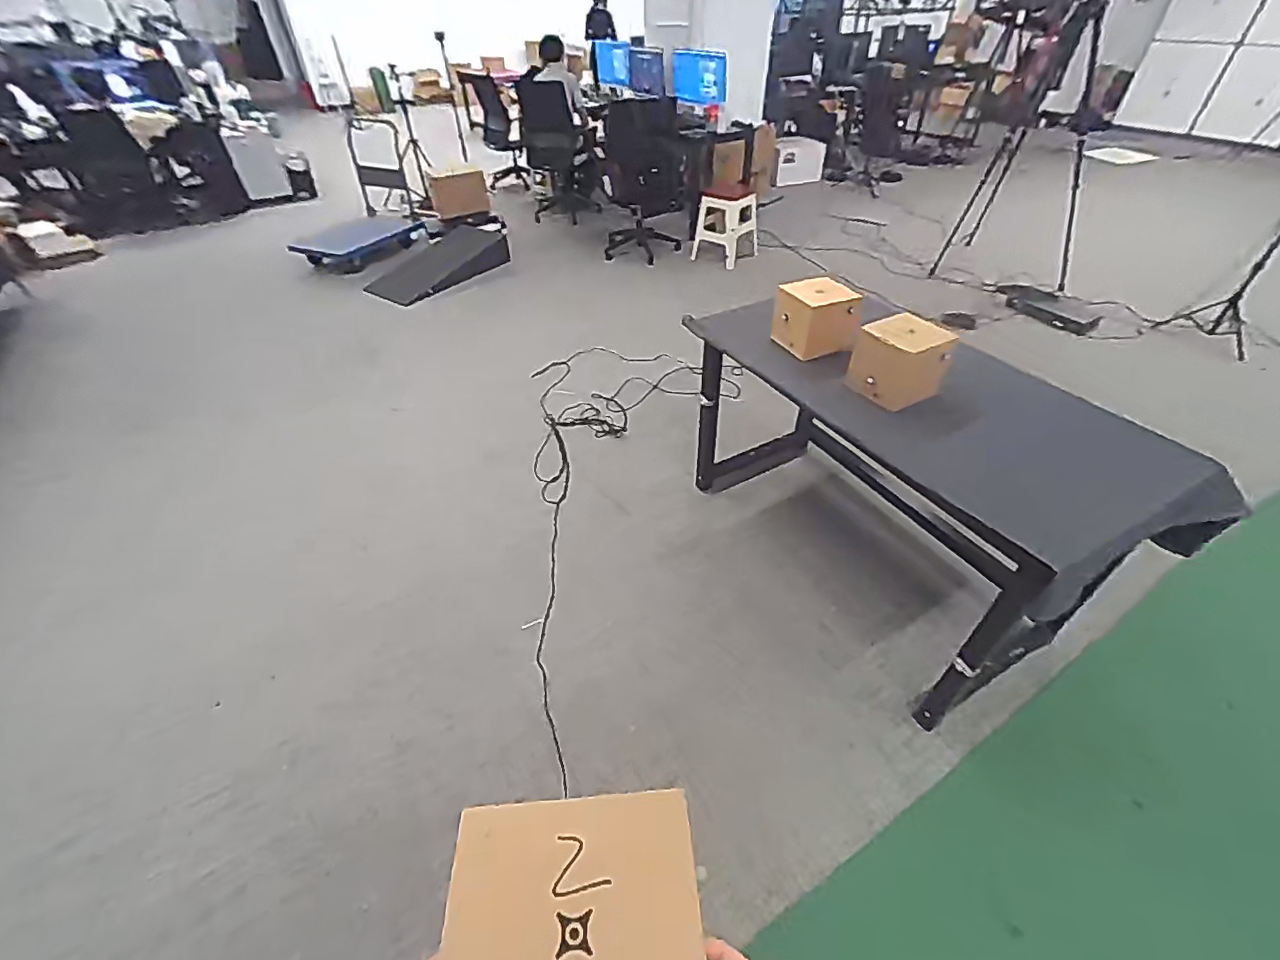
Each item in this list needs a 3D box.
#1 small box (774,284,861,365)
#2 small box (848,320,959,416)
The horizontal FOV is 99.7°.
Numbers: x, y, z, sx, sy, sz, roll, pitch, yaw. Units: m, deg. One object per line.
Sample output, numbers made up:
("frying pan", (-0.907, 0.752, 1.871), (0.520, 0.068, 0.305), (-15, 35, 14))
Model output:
("small box", (0.512, -0.458, 1.596), (0.179, 0.176, 0.168), (-16, 44, -19))
("small box", (0.671, -0.290, 1.400), (0.179, 0.176, 0.168), (-21, 45, -22))
